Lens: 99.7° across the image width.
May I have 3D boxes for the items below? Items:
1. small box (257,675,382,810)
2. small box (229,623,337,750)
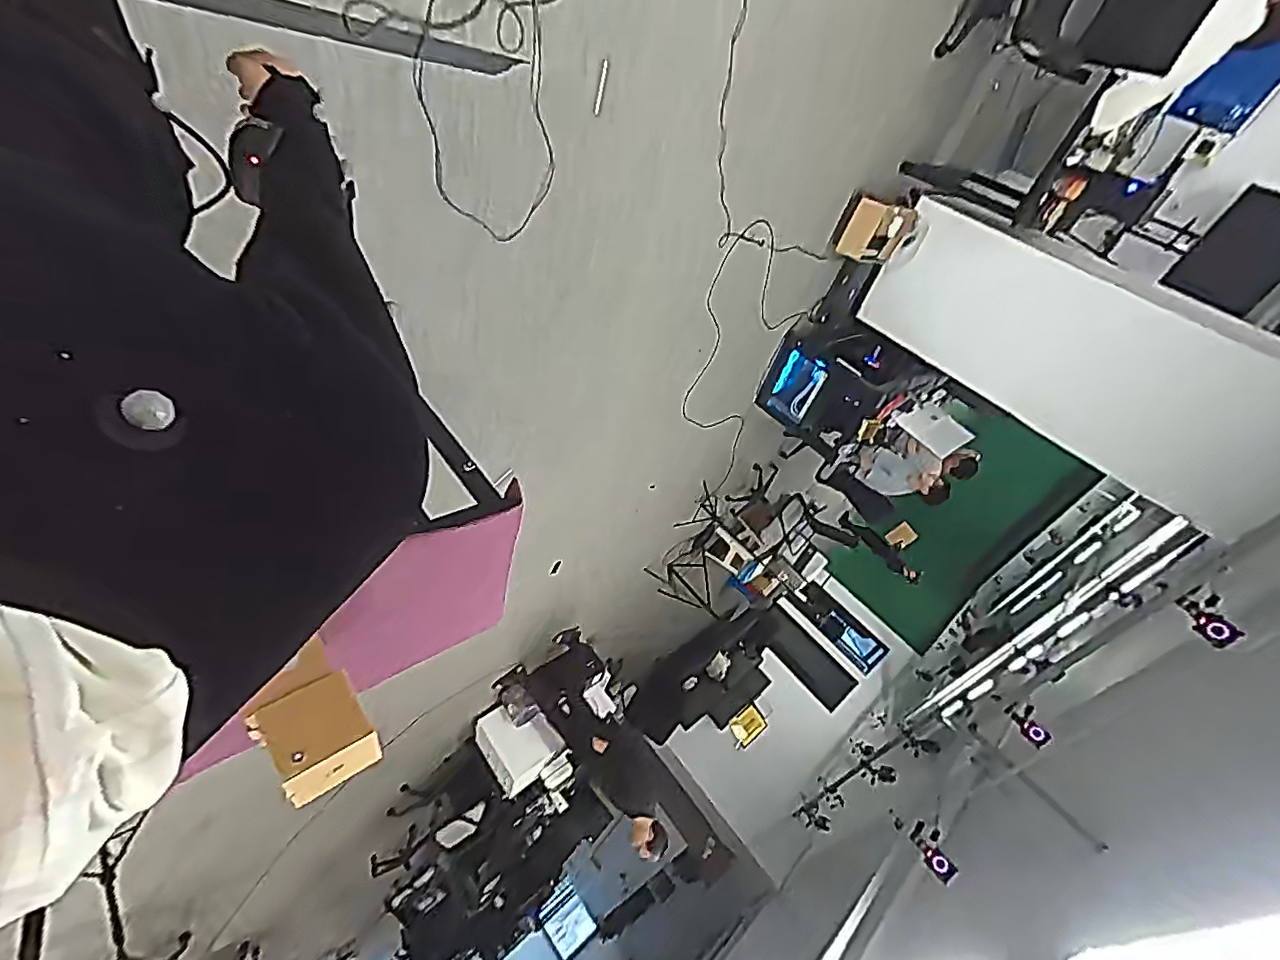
[{"bbox_3d":[-0.679,0.552,1.154,0.179,0.176,0.168,-23,147,-36],"label":"small box"},{"bbox_3d":[-0.797,0.460,1.222,0.179,0.176,0.168,-23,147,-36],"label":"small box"}]
